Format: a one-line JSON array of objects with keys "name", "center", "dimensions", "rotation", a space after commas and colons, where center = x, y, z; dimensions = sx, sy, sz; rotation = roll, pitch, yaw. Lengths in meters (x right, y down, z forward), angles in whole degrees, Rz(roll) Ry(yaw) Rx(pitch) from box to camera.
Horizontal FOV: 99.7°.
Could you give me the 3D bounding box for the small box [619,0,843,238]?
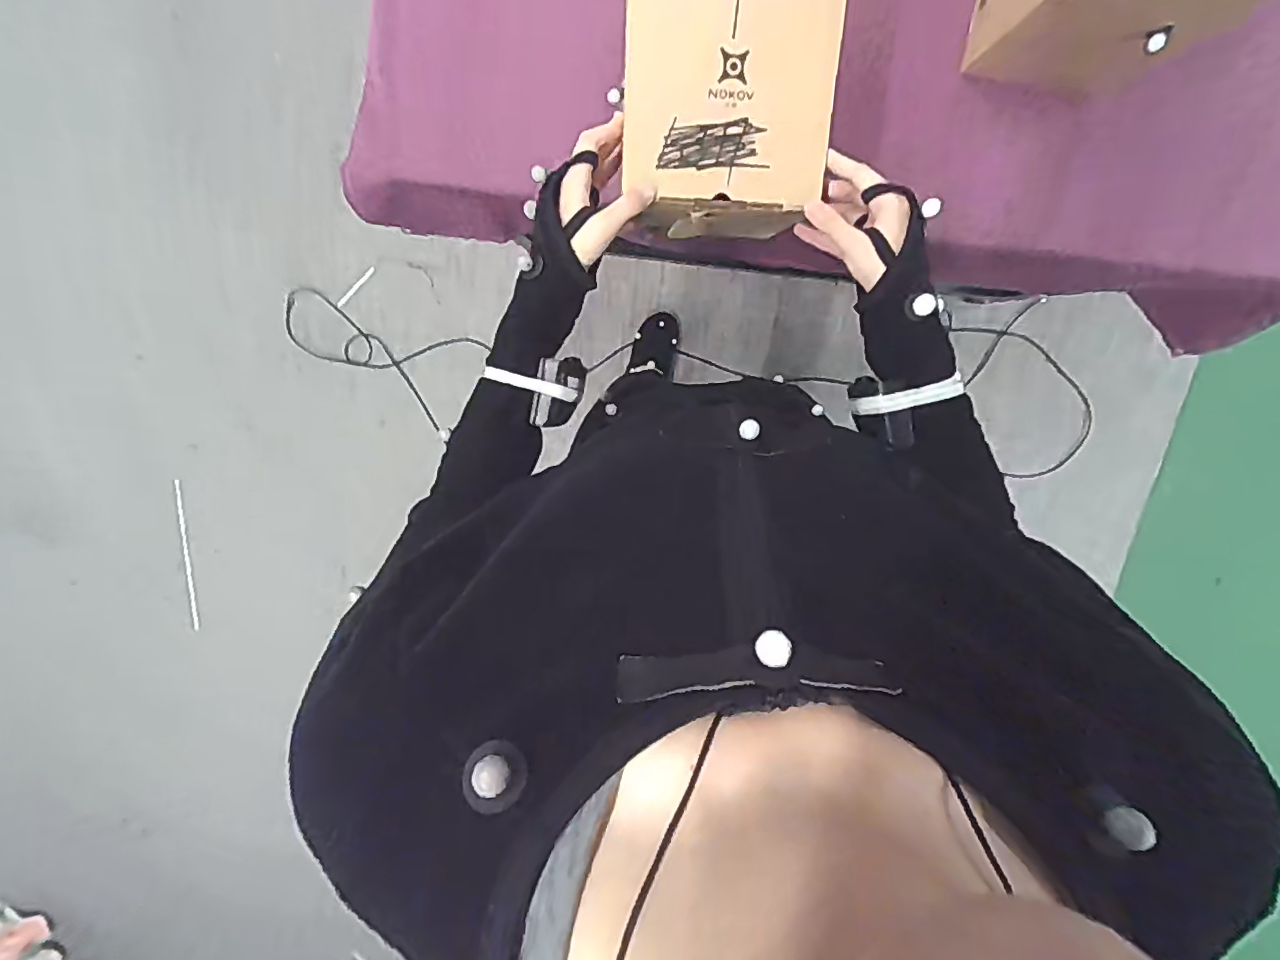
[{"name": "small box", "center": [0.066, -0.328, 0.496], "dimensions": [0.168, 0.176, 0.179], "rotation": [2, 106, -3]}]
